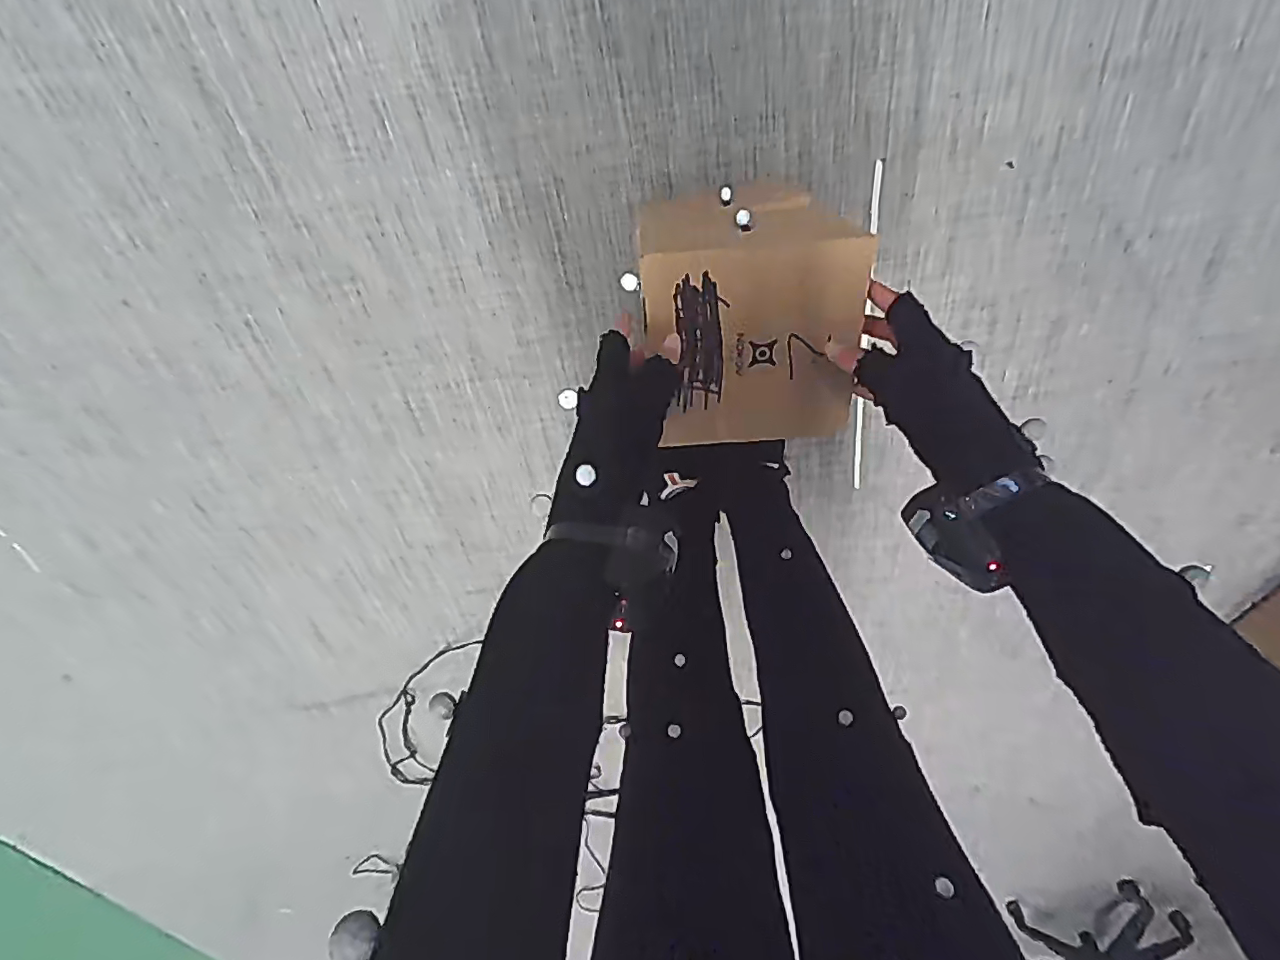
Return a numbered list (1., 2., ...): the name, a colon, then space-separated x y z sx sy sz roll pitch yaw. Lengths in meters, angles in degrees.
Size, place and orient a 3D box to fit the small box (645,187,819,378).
1. small box: 0.102 -0.240 0.645 0.179 0.176 0.168 -7 122 6
